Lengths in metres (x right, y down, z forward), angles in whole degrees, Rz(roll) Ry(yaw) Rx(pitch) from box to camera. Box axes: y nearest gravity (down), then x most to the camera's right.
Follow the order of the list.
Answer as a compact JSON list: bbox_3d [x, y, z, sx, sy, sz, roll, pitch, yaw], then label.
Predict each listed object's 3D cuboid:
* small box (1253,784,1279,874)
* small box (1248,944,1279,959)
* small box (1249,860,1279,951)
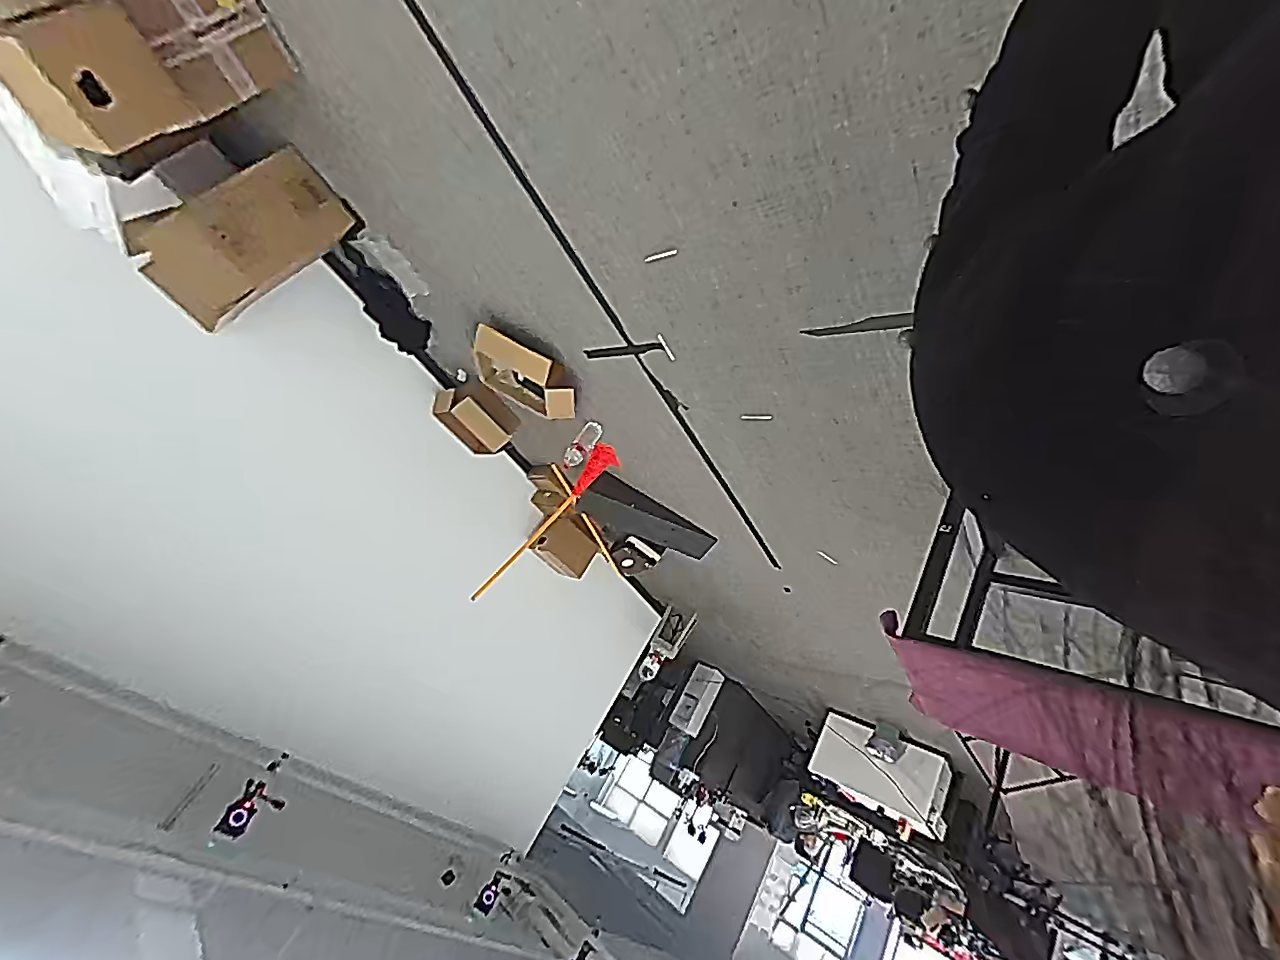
[{"bbox_3d":[1.465,0.793,1.168,0.168,0.176,0.179,8,145,44],"label":"small box"},{"bbox_3d":[1.299,1.045,1.038,0.168,0.176,0.179,8,145,44],"label":"small box"},{"bbox_3d":[1.386,0.922,1.104,0.168,0.176,0.179,7,145,44],"label":"small box"}]
